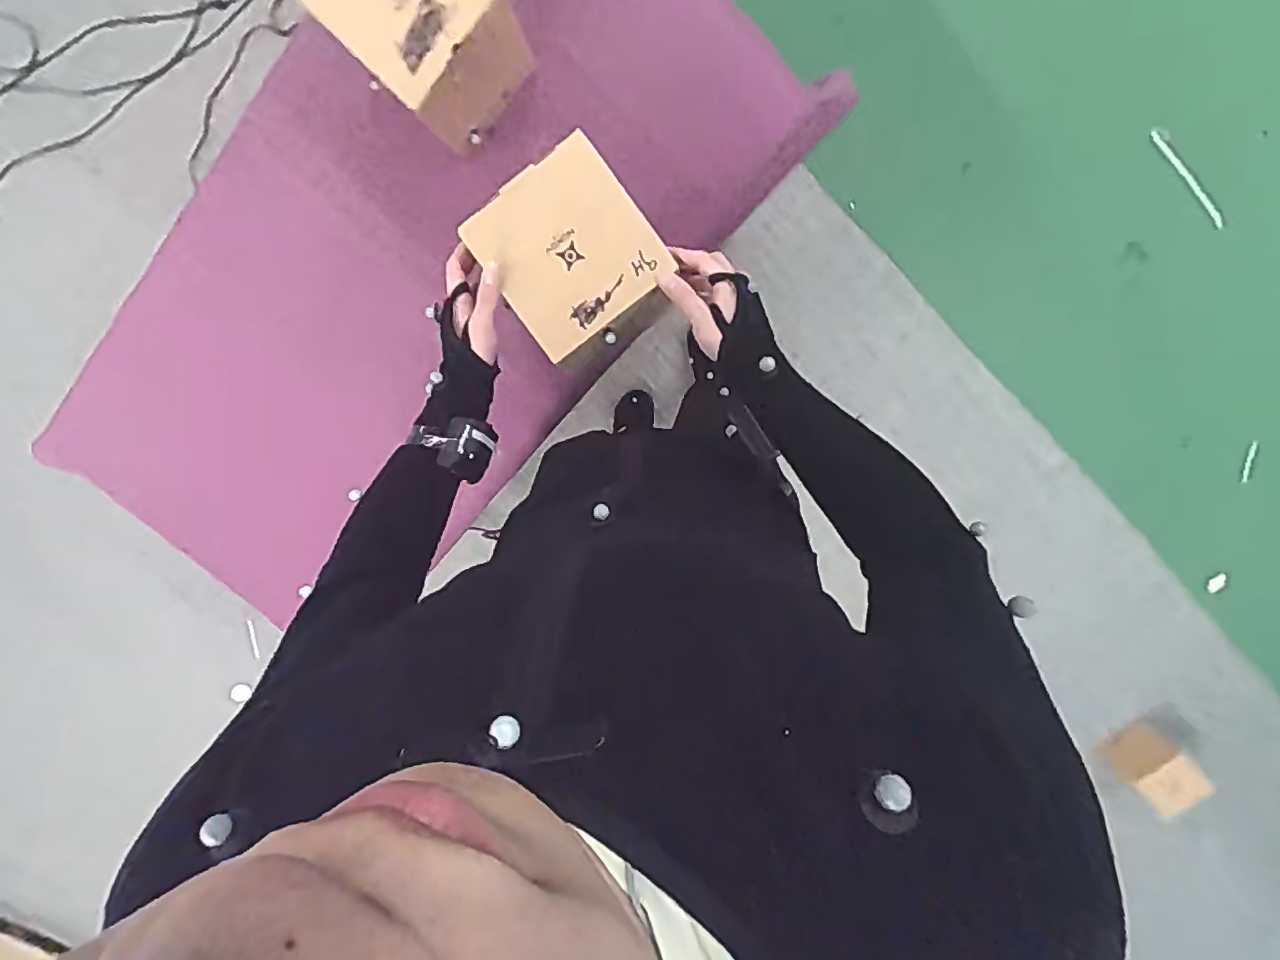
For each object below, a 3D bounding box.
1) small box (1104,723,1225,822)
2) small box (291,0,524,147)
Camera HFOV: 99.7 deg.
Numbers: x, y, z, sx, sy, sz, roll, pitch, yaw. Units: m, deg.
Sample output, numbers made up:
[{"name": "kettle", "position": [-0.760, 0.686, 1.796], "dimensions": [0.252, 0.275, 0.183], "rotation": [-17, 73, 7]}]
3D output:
[{"name": "small box", "position": [1.616, 0.899, 1.676], "dimensions": [0.168, 0.176, 0.179], "rotation": [-43, 98, 10]}, {"name": "small box", "position": [-0.271, -0.554, 0.670], "dimensions": [0.179, 0.176, 0.168], "rotation": [43, 101, -6]}]
